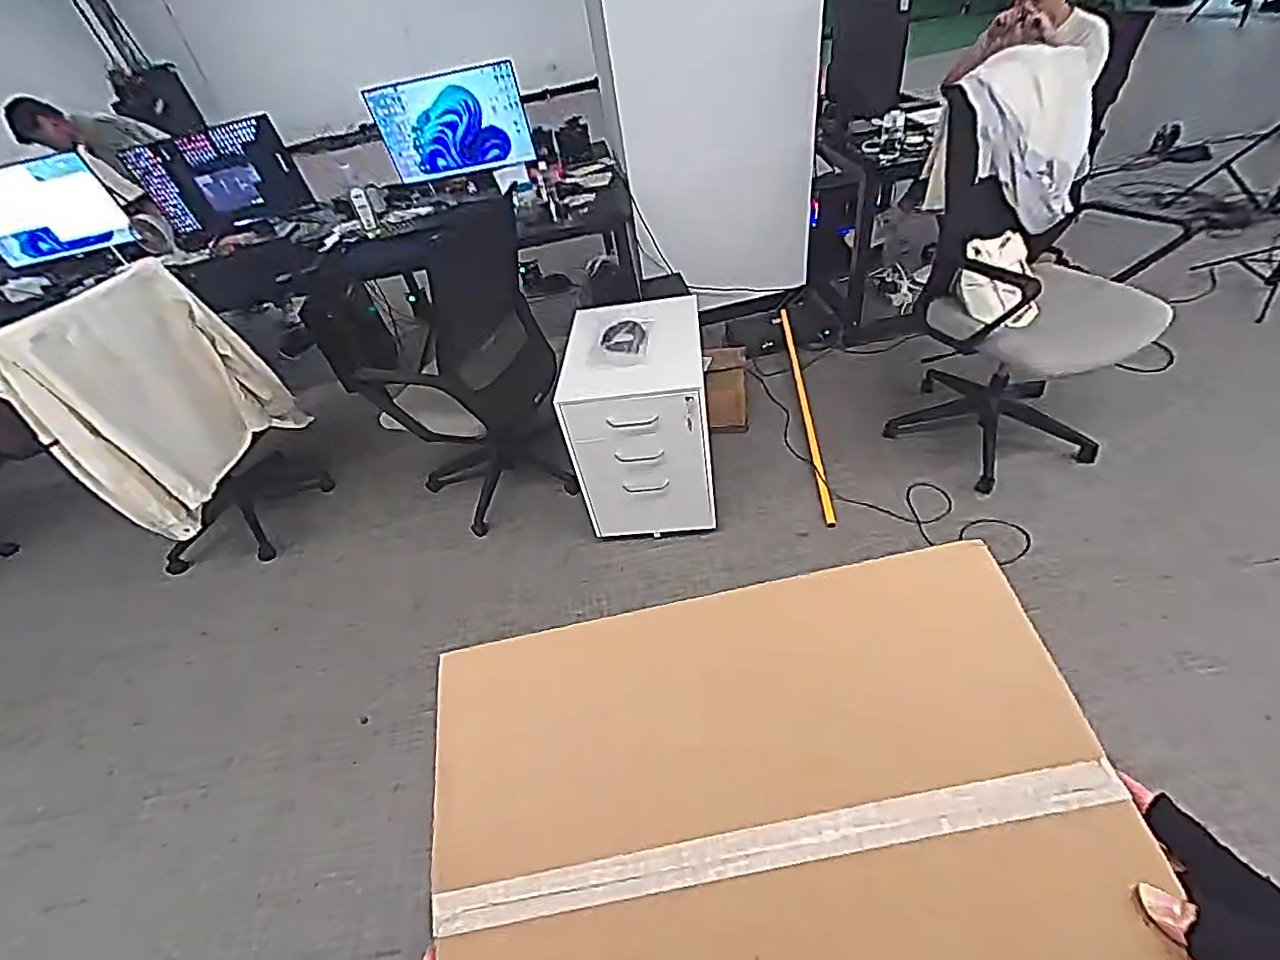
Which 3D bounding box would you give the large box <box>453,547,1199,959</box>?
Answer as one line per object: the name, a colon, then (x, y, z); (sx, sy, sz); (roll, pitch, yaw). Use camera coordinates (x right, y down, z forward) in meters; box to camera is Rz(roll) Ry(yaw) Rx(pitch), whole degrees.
large box: (0.100, 0.298, 0.452); (0.408, 0.320, 0.320); (-13, 59, 3)
